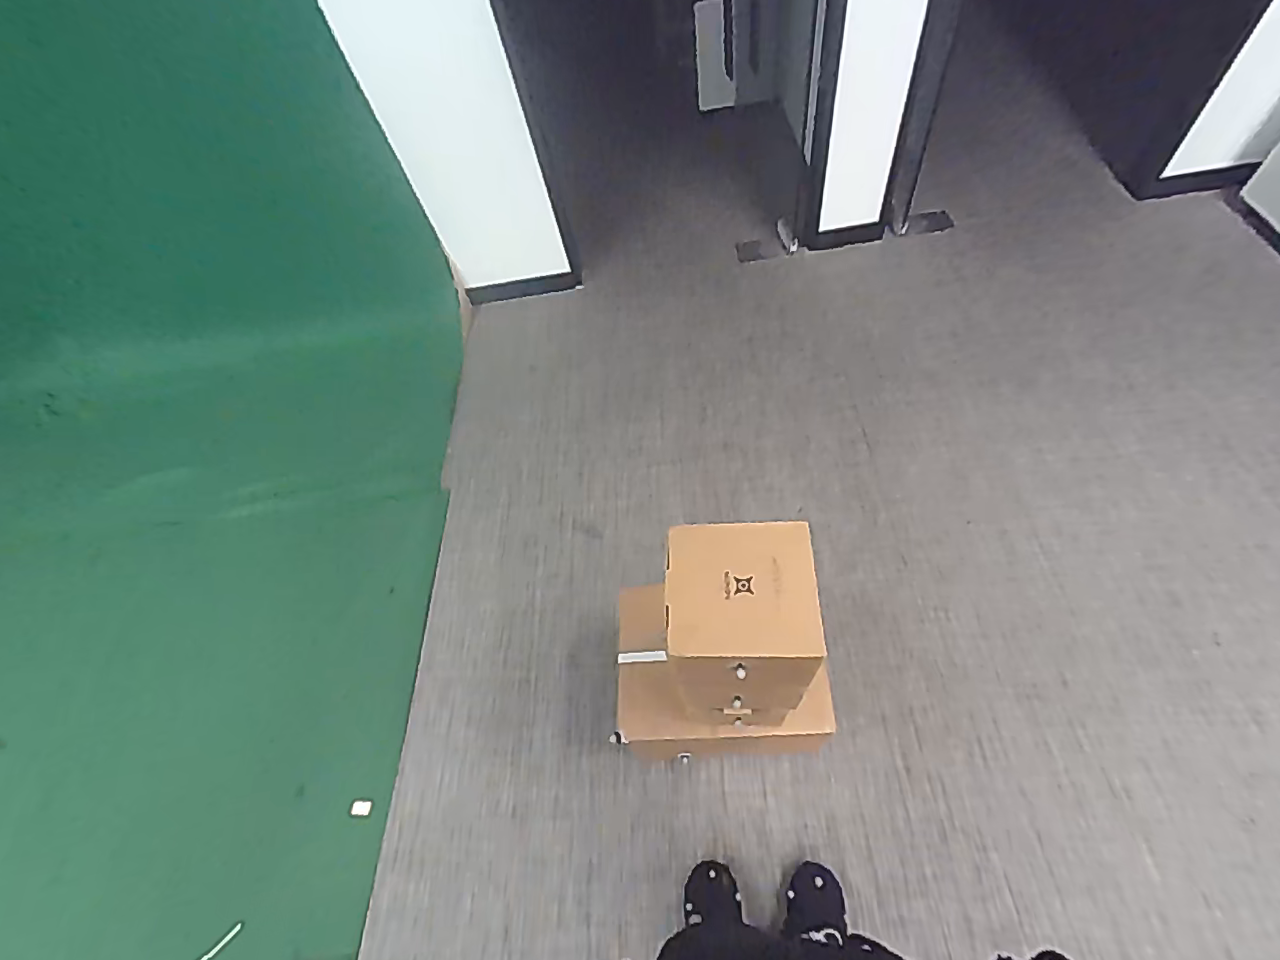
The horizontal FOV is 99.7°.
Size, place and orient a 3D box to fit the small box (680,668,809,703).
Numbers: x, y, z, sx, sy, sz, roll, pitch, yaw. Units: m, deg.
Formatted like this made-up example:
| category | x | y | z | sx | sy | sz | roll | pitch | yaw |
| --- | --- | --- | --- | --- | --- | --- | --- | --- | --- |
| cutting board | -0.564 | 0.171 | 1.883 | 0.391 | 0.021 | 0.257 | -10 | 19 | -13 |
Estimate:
| category | x | y | z | sx | sy | sz | roll | pitch | yaw |
| --- | --- | --- | --- | --- | --- | --- | --- | --- | --- |
| small box | 0.157 | 0.244 | 0.839 | 0.179 | 0.176 | 0.168 | -4 | 58 | 10 |

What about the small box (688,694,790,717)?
| category | x | y | z | sx | sy | sz | roll | pitch | yaw |
| --- | --- | --- | --- | --- | --- | --- | --- | --- | --- |
| small box | 0.178 | 0.327 | 0.980 | 0.168 | 0.176 | 0.179 | -3 | 59 | 10 |

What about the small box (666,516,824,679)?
| category | x | y | z | sx | sy | sz | roll | pitch | yaw |
| --- | --- | --- | --- | --- | --- | --- | --- | --- | --- |
| small box | 0.131 | 0.160 | 0.704 | 0.179 | 0.176 | 0.168 | -4 | 59 | 8 |
